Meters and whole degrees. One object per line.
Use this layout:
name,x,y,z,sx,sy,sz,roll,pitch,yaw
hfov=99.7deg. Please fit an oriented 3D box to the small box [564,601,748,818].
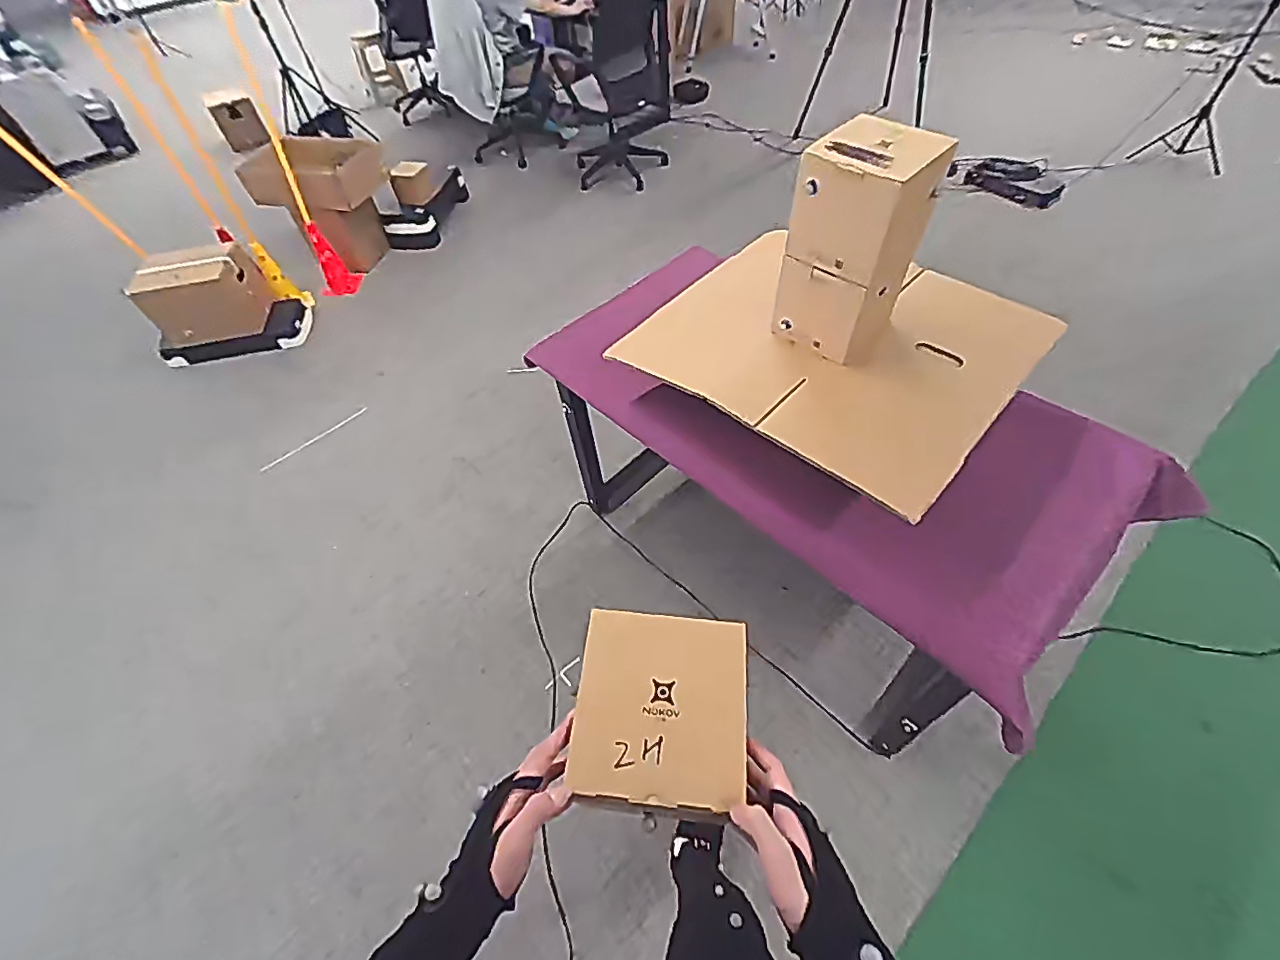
small box,0.022,0.252,0.589,0.168,0.176,0.179,5,56,5

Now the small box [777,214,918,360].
small box,0.372,-0.354,1.003,0.168,0.176,0.179,36,63,25
